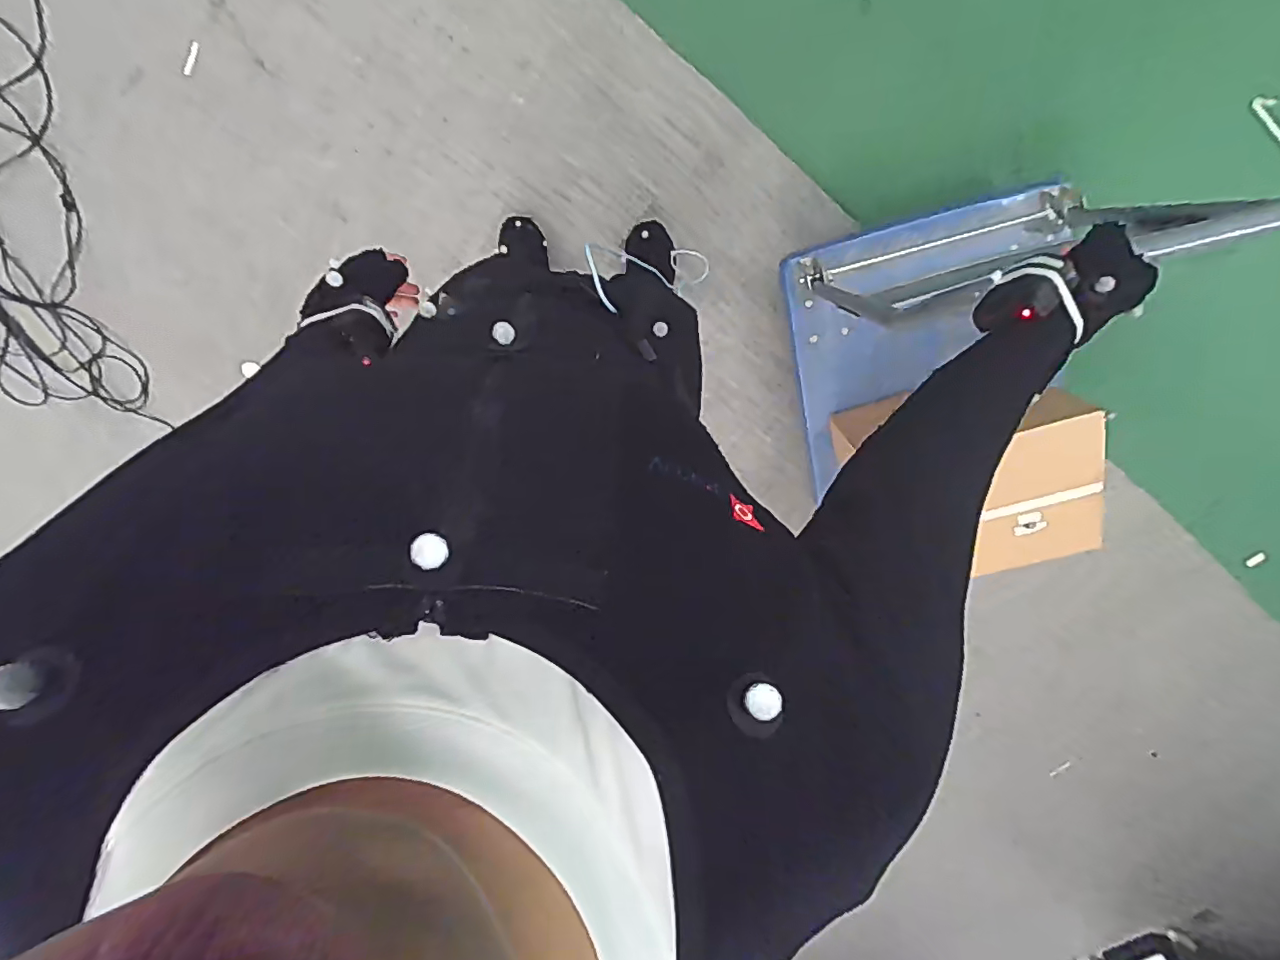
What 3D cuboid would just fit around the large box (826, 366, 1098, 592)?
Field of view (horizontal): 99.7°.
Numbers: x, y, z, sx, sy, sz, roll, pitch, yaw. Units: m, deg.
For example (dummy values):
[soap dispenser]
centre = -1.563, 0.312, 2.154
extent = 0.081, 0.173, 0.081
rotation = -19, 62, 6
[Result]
[large box]
centre = 0.675, -0.012, 1.186
extent = 0.408, 0.320, 0.320
rotation = -17, 116, 9
